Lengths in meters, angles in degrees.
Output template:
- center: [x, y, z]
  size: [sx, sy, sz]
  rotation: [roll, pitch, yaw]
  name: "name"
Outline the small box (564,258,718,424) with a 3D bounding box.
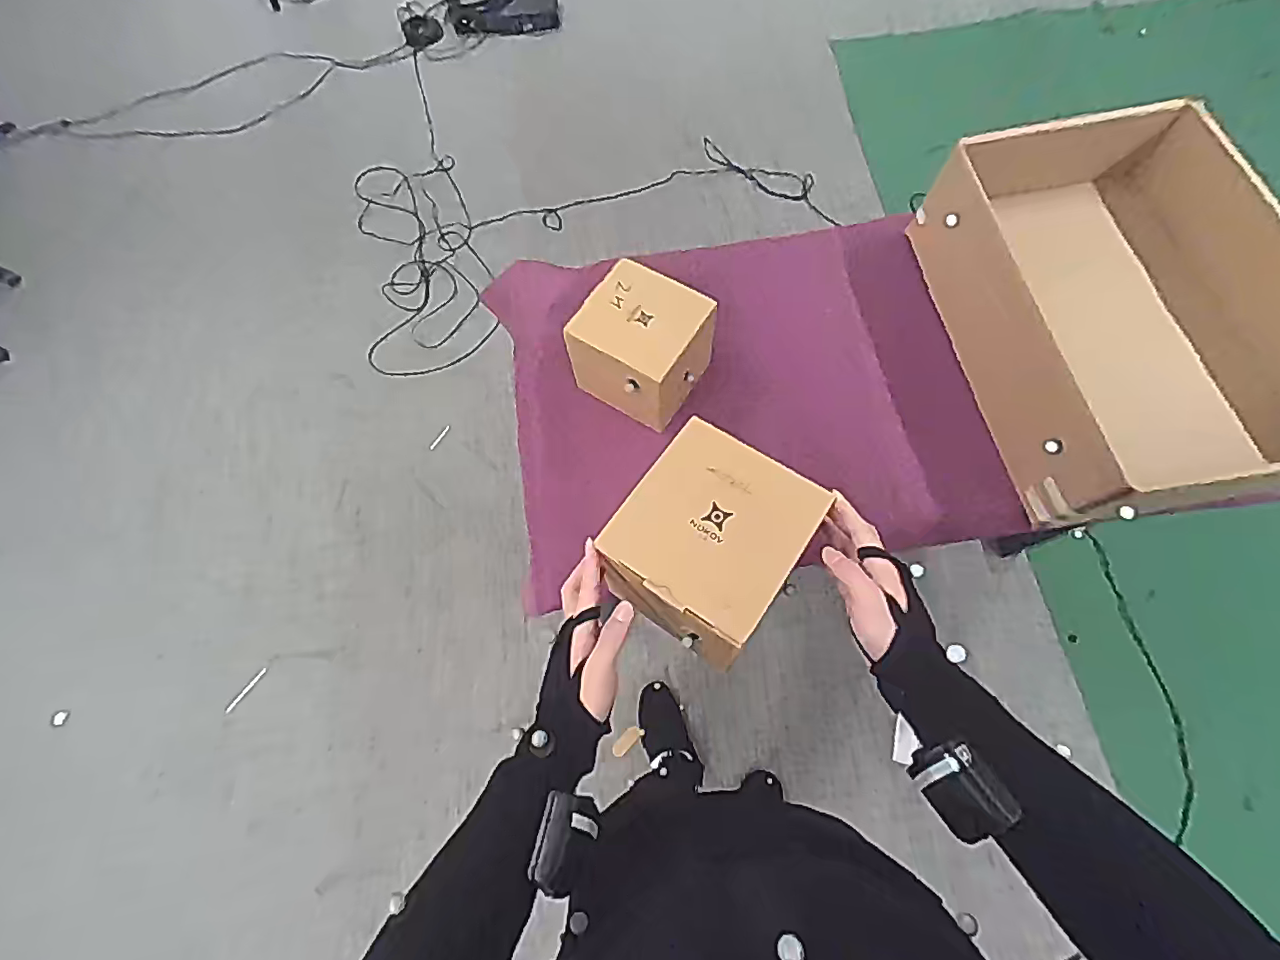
- center: [0.005, -0.214, 0.880]
  size: [0.179, 0.176, 0.168]
  rotation: [31, 73, 13]
  name: "small box"
